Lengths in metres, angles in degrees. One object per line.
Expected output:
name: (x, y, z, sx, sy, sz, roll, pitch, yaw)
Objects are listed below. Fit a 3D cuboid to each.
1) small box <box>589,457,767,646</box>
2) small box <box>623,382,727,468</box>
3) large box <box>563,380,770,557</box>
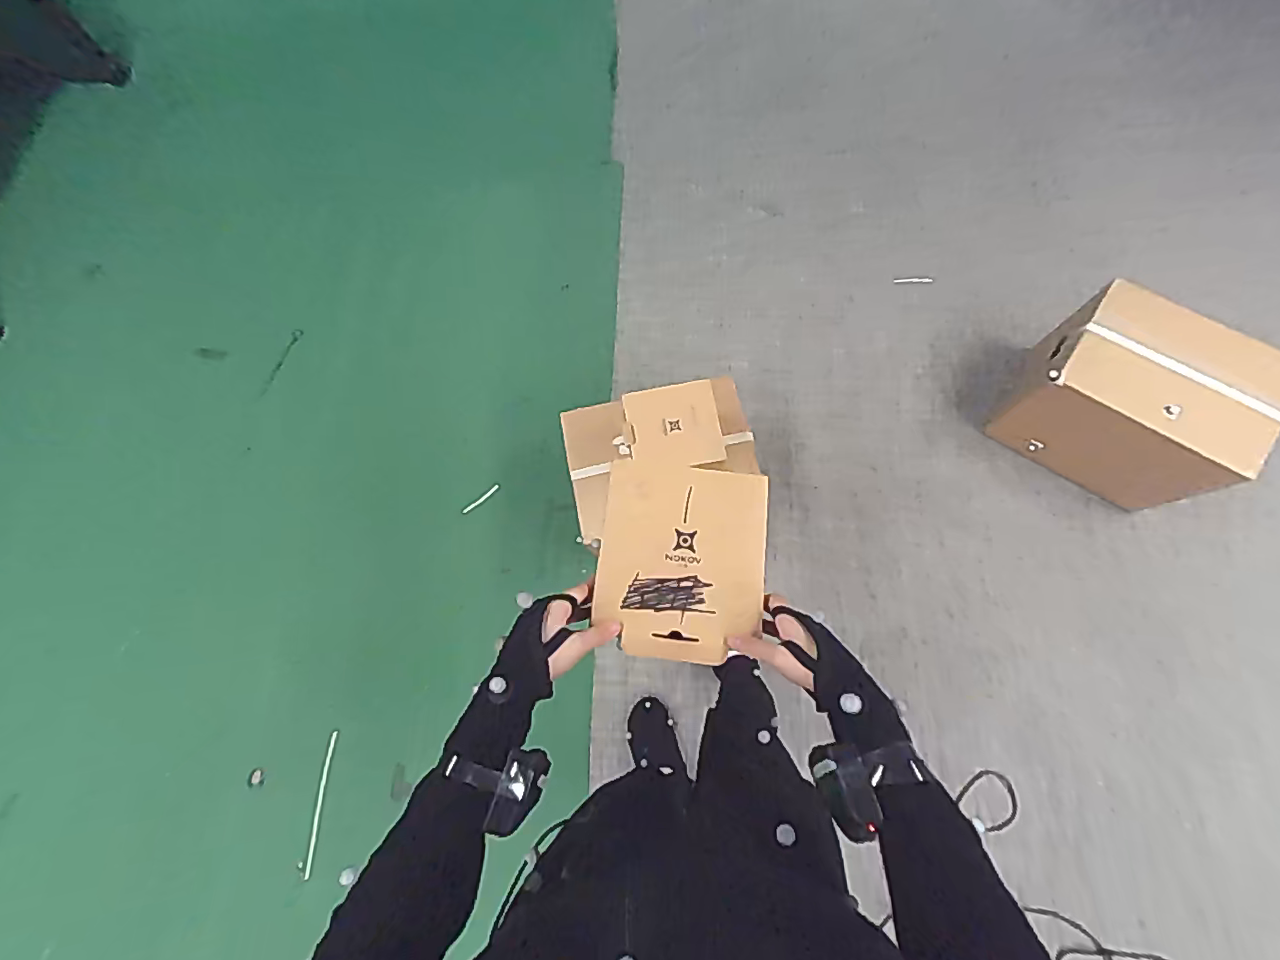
small box: (0.041, 0.091, 0.613, 0.168, 0.176, 0.179, 6, 71, 1)
small box: (0.070, -0.075, 1.082, 0.179, 0.176, 0.168, -10, 74, 2)
large box: (0.065, 0.002, 1.317, 0.408, 0.320, 0.320, -13, 71, 2)
